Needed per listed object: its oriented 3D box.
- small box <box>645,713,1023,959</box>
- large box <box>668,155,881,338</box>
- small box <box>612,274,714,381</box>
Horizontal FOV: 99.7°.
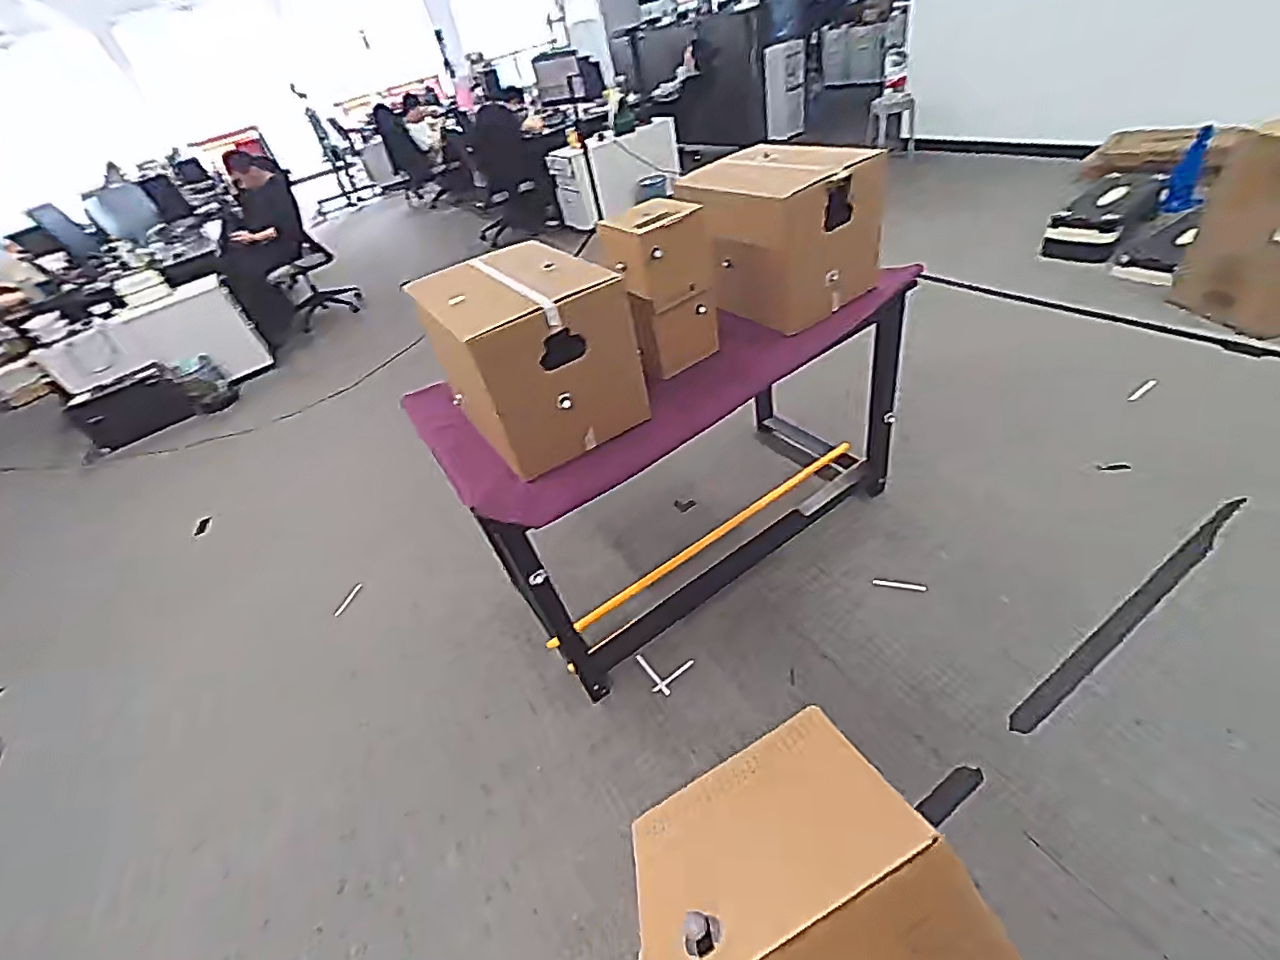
[{"bbox_3d":[0.116,0.287,0.347,0.179,0.168,0.176,-31,1,-2],"label":"small box"},{"bbox_3d":[0.335,-0.601,1.364,0.320,0.320,0.408,-31,41,-18],"label":"large box"},{"bbox_3d":[0.062,-0.363,1.286,0.179,0.176,0.168,-32,42,-18],"label":"small box"}]
